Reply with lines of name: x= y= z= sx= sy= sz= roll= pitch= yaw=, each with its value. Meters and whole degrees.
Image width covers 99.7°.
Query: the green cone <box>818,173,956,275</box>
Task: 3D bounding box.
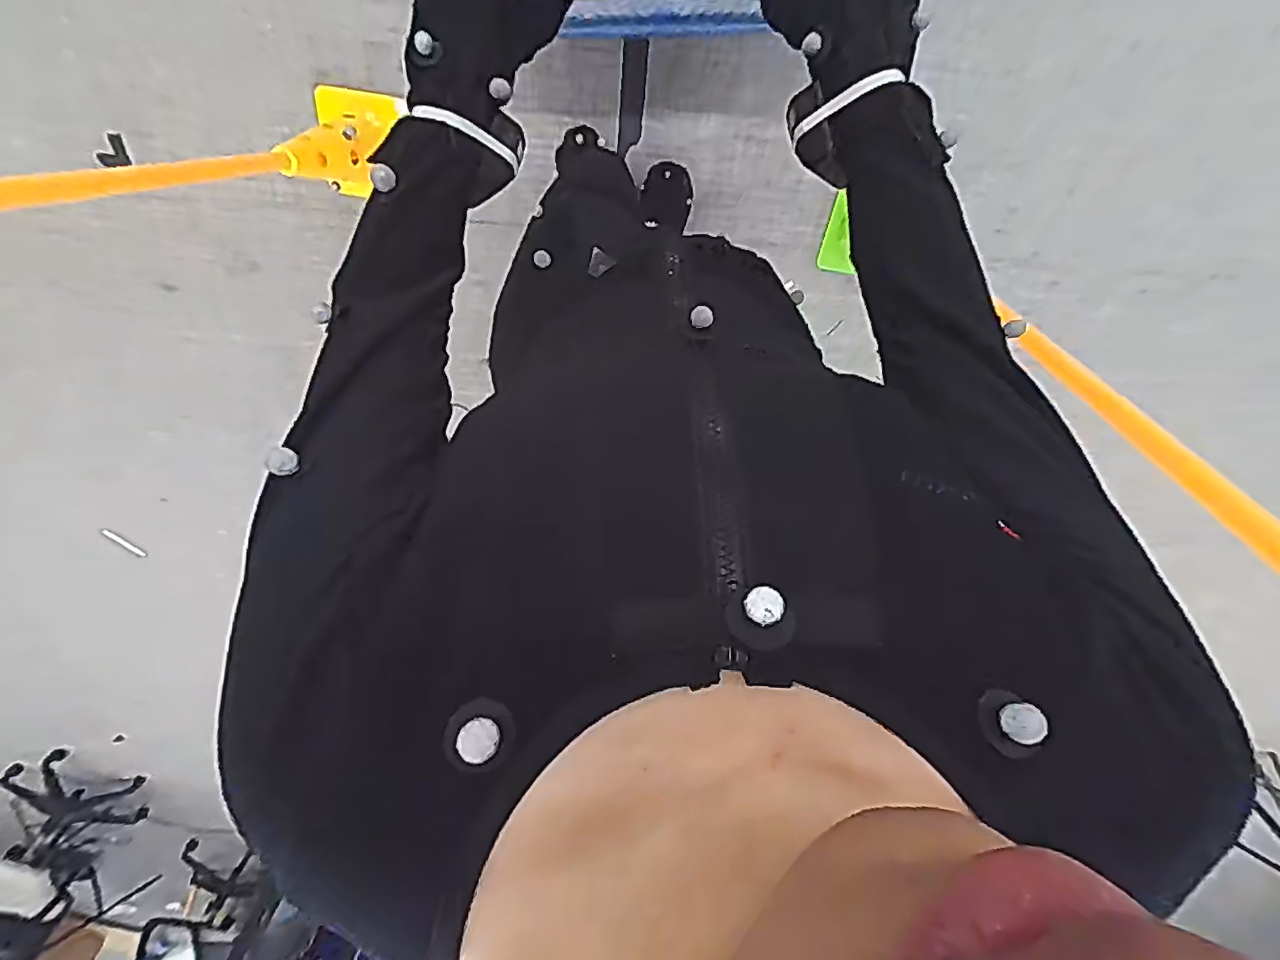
green cone: x=0.537 y=-0.492 z=1.115 sx=0.202 sy=0.368 sz=0.200 roll=6 pitch=124 yaw=-6
